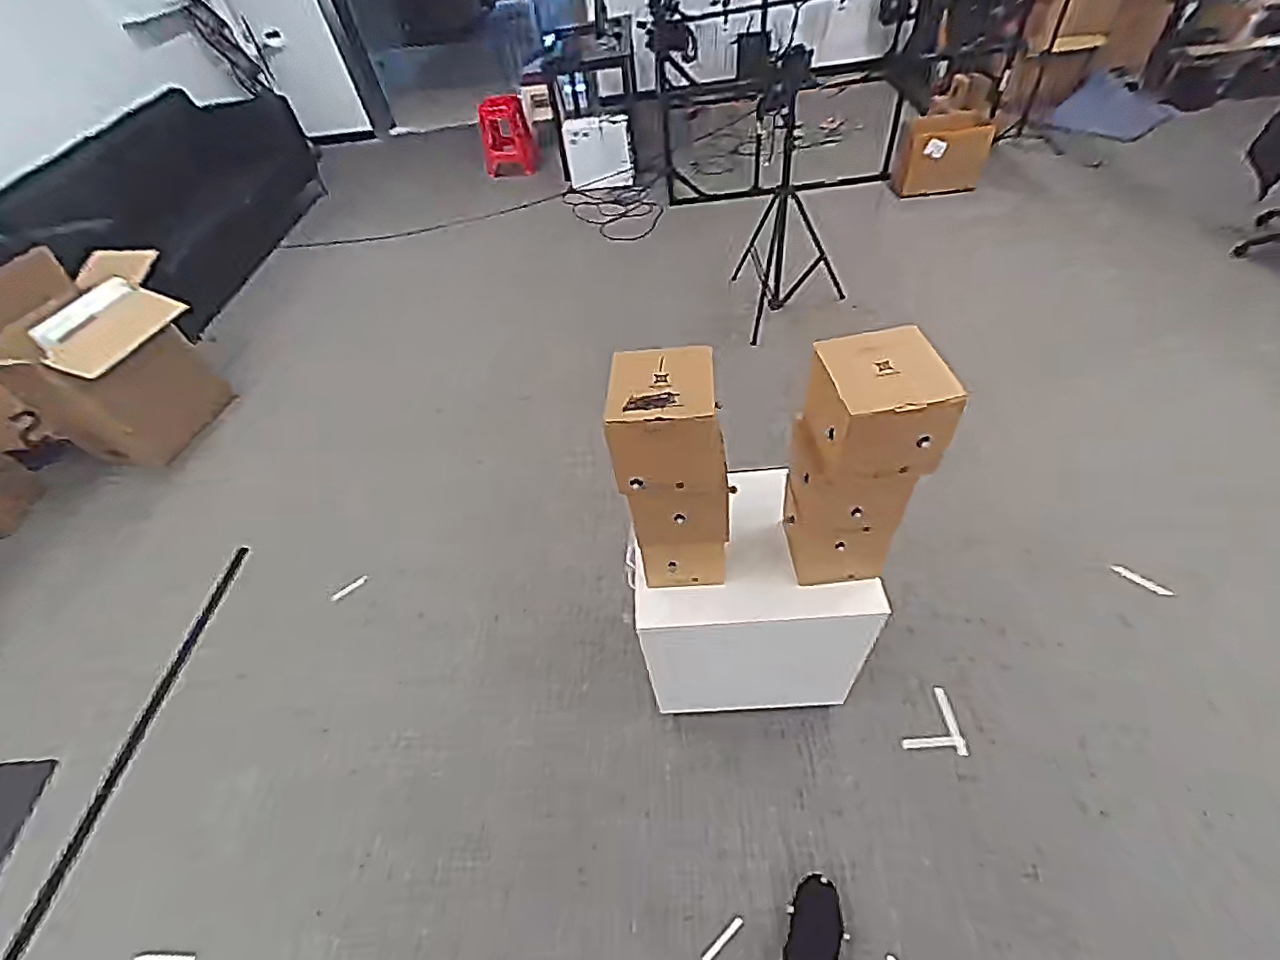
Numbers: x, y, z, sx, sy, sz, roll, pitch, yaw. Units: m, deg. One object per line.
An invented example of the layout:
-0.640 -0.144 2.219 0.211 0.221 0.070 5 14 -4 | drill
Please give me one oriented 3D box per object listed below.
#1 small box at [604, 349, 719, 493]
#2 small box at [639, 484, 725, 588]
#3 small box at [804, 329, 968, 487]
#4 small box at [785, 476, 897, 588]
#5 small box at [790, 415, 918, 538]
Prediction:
0.043 -0.090 0.890 0.168 0.176 0.179 -2 49 8 | small box
0.091 0.118 1.141 0.168 0.176 0.179 -4 49 5 | small box
0.368 -0.105 0.847 0.168 0.176 0.179 -10 49 1 | small box
0.397 0.099 1.104 0.168 0.176 0.179 -8 49 5 | small box
0.375 -0.008 0.979 0.168 0.176 0.179 -6 49 5 | small box
